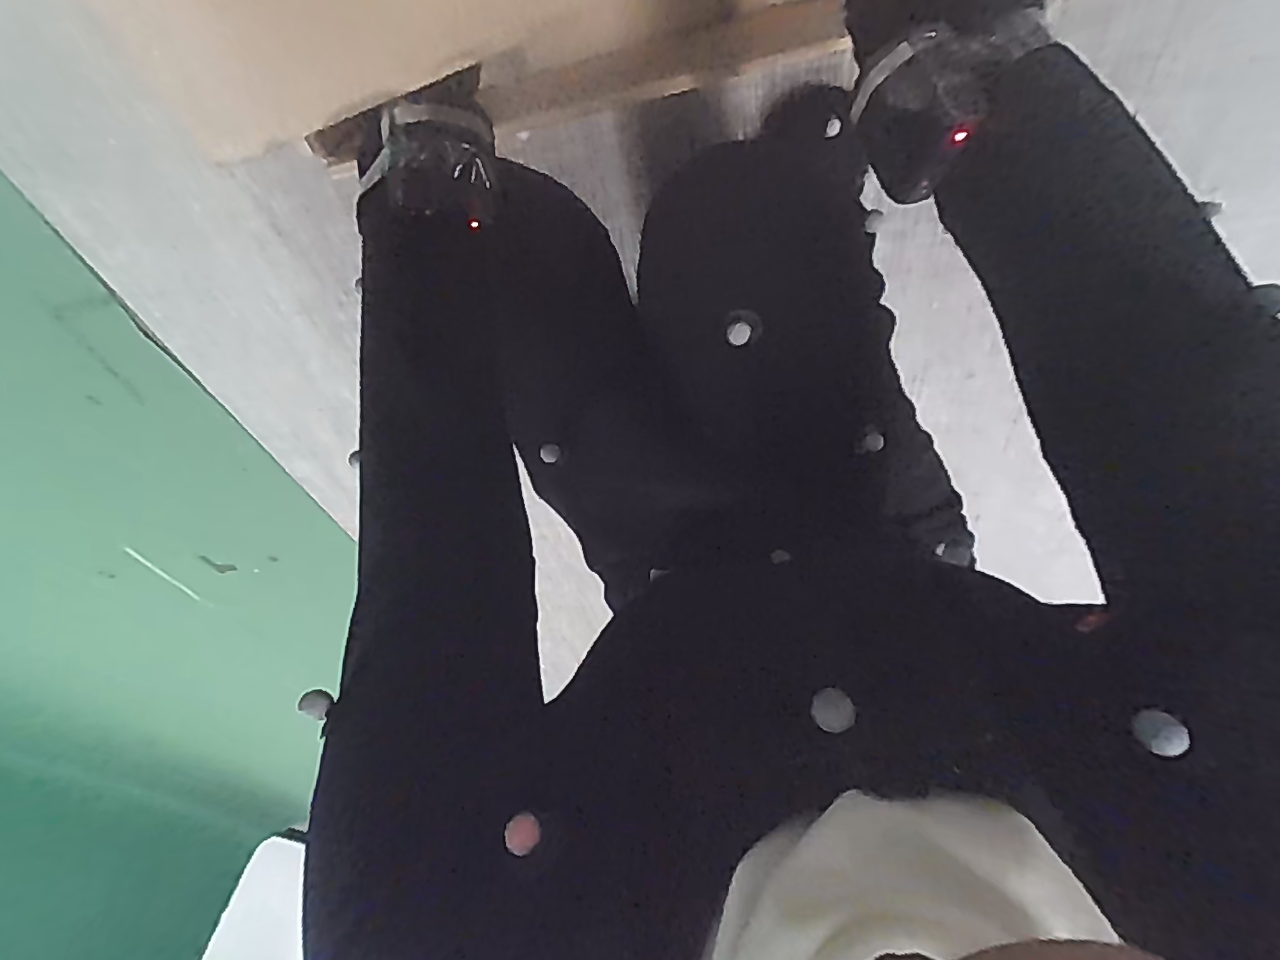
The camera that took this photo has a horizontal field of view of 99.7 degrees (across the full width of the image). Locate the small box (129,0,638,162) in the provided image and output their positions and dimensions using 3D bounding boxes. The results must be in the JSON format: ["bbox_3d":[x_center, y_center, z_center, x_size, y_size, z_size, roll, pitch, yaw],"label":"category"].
[{"bbox_3d":[-0.054,-0.219,0.142,0.179,0.176,0.168,-13,131,17],"label":"small box"}]
